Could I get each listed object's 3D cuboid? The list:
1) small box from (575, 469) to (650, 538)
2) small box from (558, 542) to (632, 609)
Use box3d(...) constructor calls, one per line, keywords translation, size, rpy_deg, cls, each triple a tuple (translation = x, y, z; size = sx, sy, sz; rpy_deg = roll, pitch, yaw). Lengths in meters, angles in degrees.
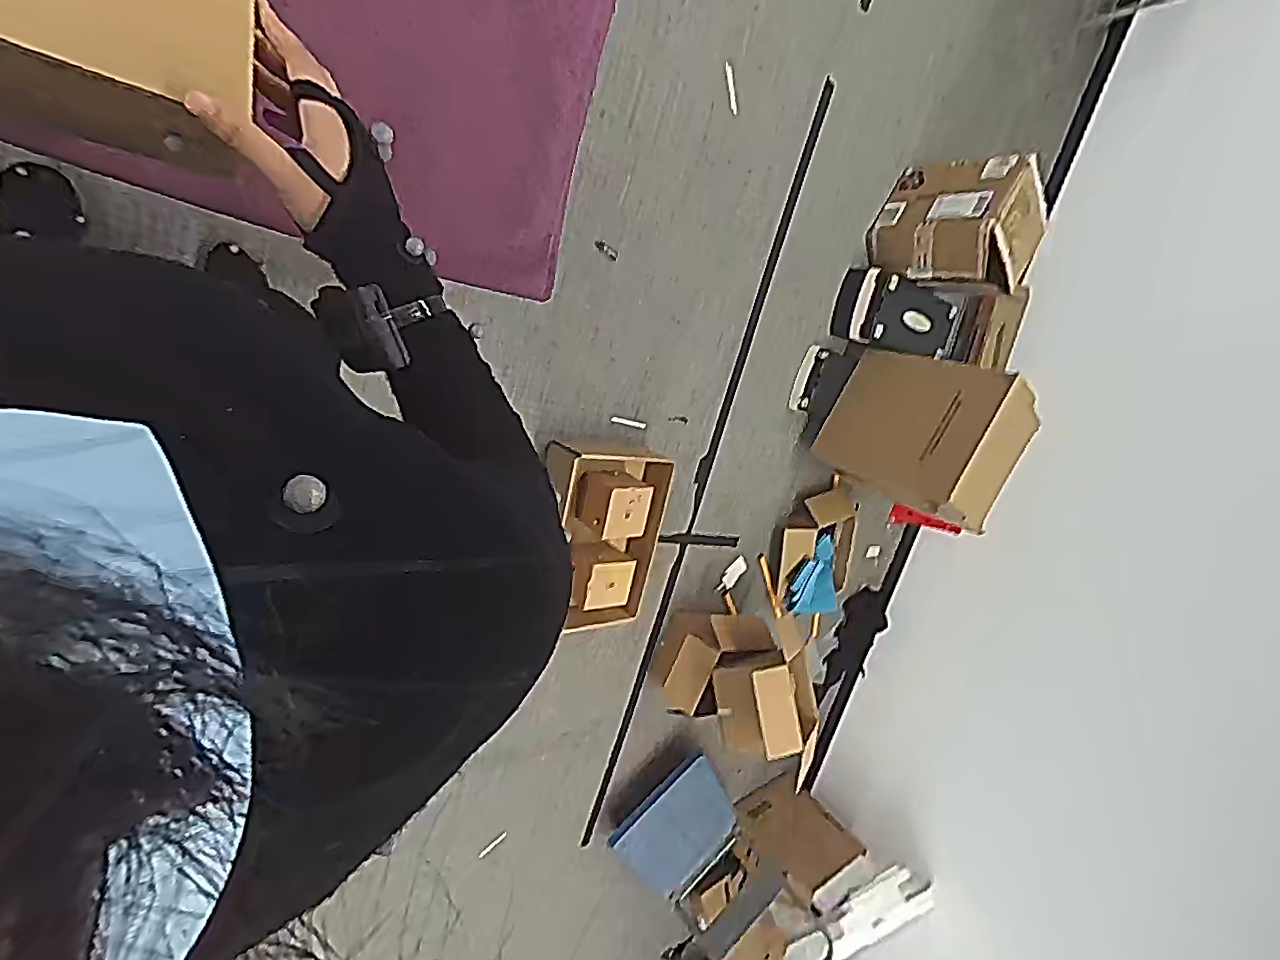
box3d(translation=(-0.097, 0.075, 1.788), size=(0.168, 0.176, 0.179), rpy_deg=(-1, 111, -39), cls="small box")
box3d(translation=(-0.157, 0.319, 1.853), size=(0.179, 0.176, 0.168), rpy_deg=(2, 107, -39), cls="small box")
